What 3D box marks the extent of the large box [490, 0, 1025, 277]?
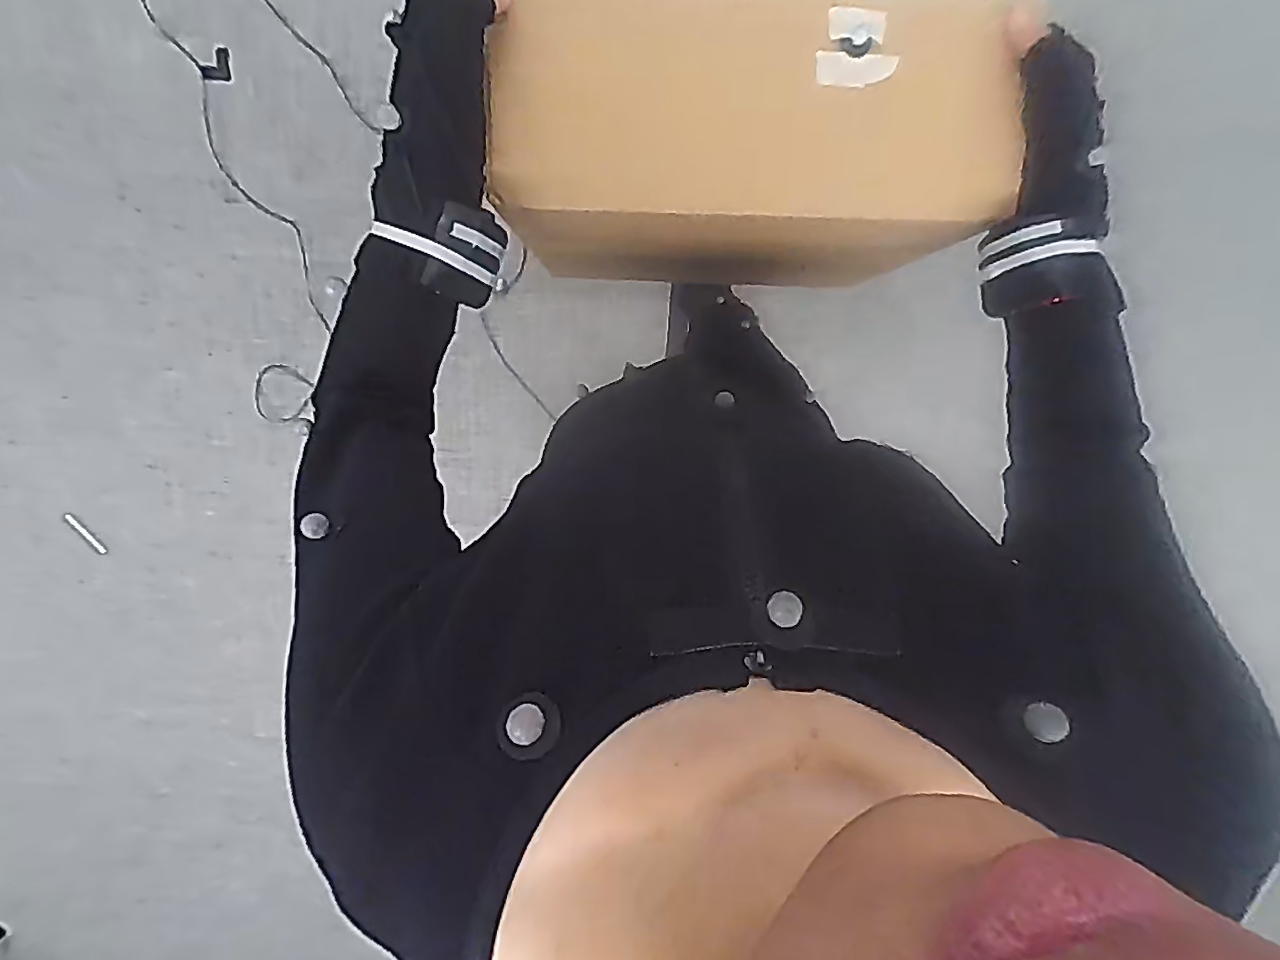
[{"bbox_3d":[0.083,-0.395,0.542,0.408,0.320,0.320,1,101,-1],"label":"large box"}]
